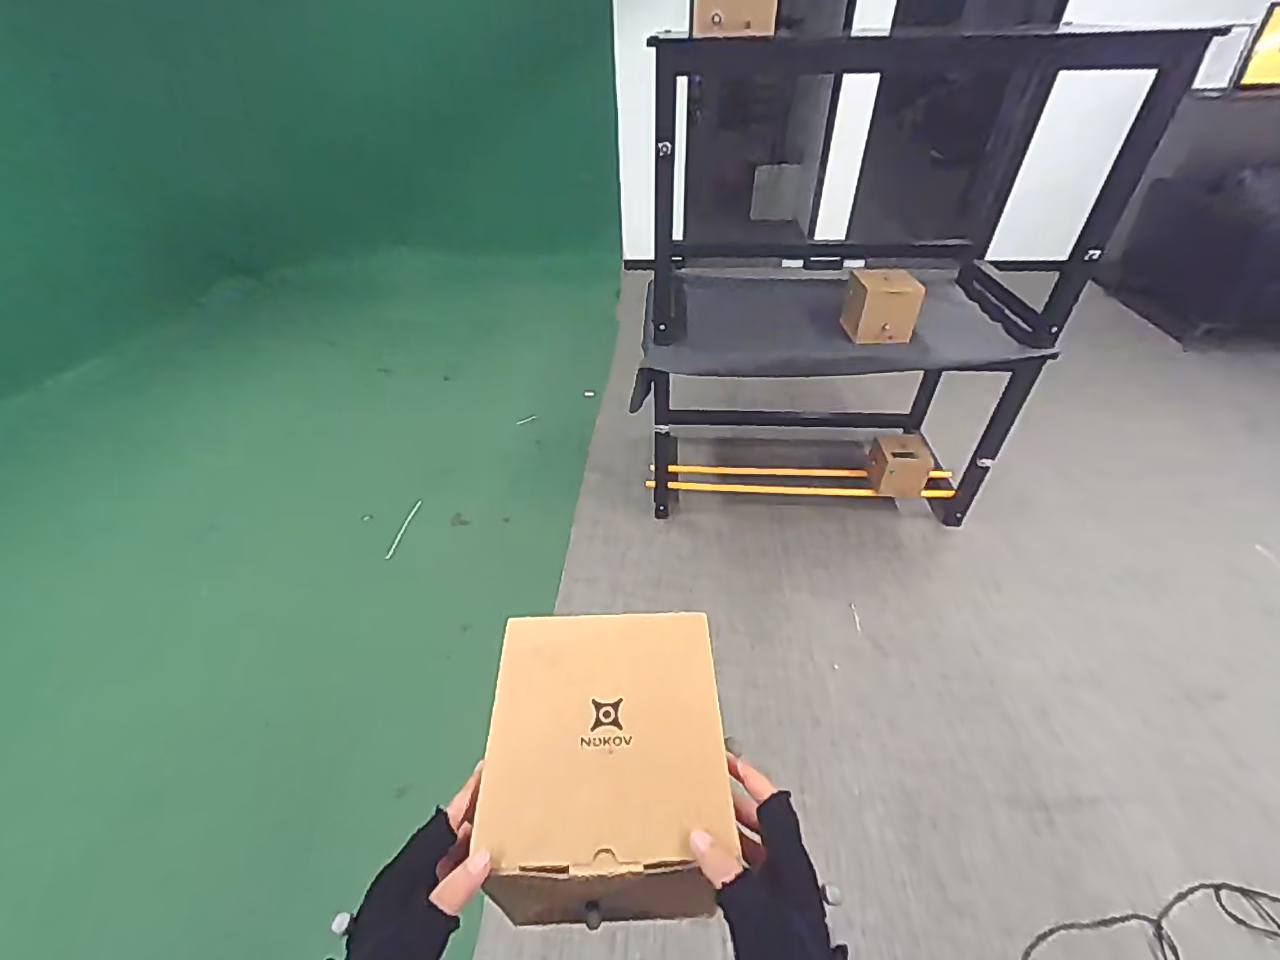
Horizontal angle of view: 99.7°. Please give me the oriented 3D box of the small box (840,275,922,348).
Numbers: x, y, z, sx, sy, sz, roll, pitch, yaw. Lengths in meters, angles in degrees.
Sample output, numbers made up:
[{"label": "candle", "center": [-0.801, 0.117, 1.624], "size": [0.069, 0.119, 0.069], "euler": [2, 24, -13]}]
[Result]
[{"label": "small box", "center": [0.737, -0.525, 1.678], "size": [0.168, 0.176, 0.179], "euler": [0, 39, 1]}]

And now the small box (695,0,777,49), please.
[{"label": "small box", "center": [0.219, -1.102, 1.241], "size": [0.168, 0.176, 0.179], "euler": [-1, 39, -1]}]
